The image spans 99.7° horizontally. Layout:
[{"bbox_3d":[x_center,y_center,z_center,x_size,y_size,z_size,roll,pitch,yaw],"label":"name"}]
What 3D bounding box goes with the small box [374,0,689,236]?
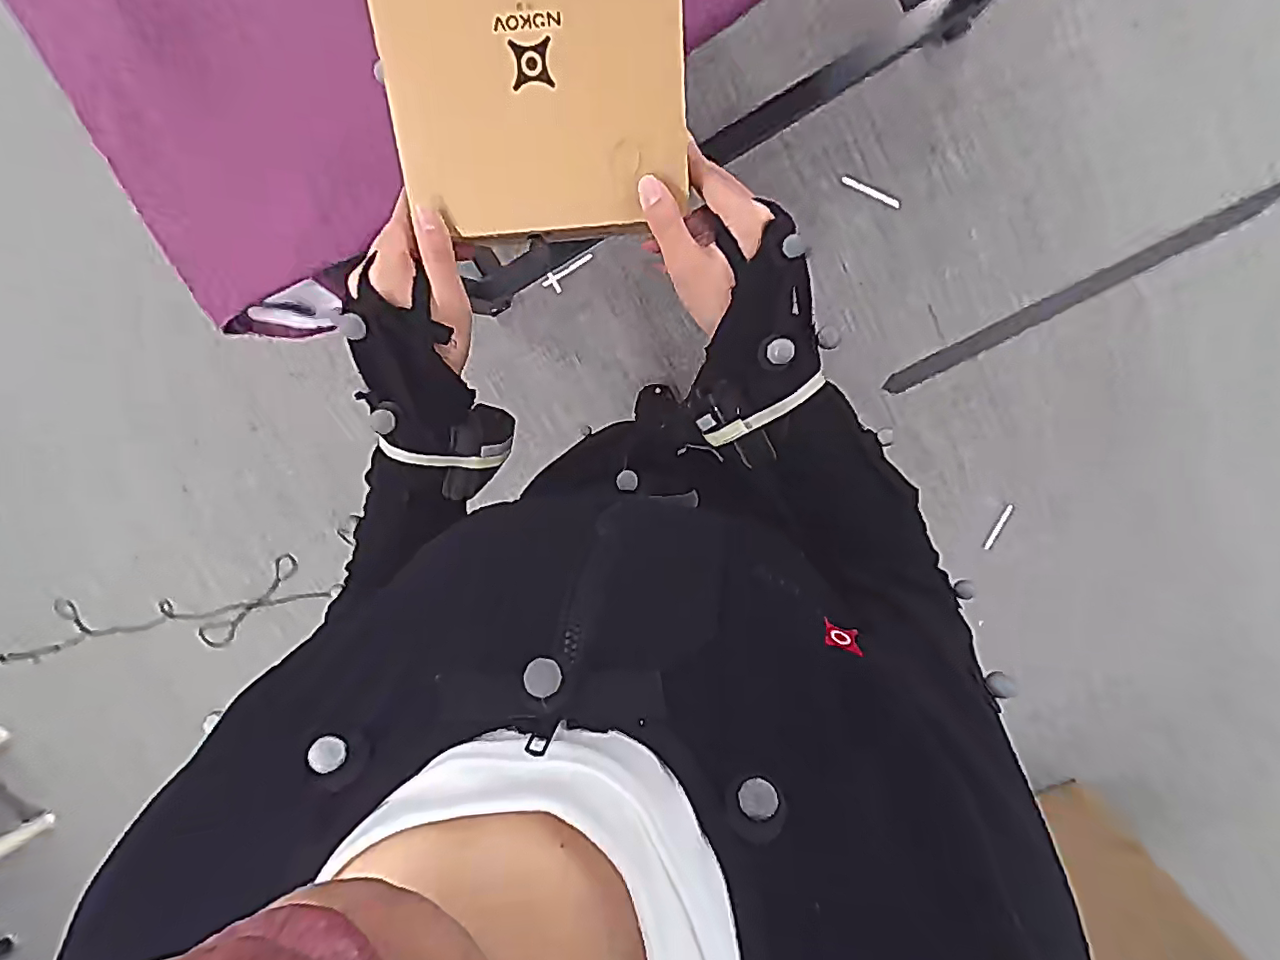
[{"bbox_3d":[-0.054,-0.263,0.361,0.168,0.176,0.179,-3,111,2],"label":"small box"}]
